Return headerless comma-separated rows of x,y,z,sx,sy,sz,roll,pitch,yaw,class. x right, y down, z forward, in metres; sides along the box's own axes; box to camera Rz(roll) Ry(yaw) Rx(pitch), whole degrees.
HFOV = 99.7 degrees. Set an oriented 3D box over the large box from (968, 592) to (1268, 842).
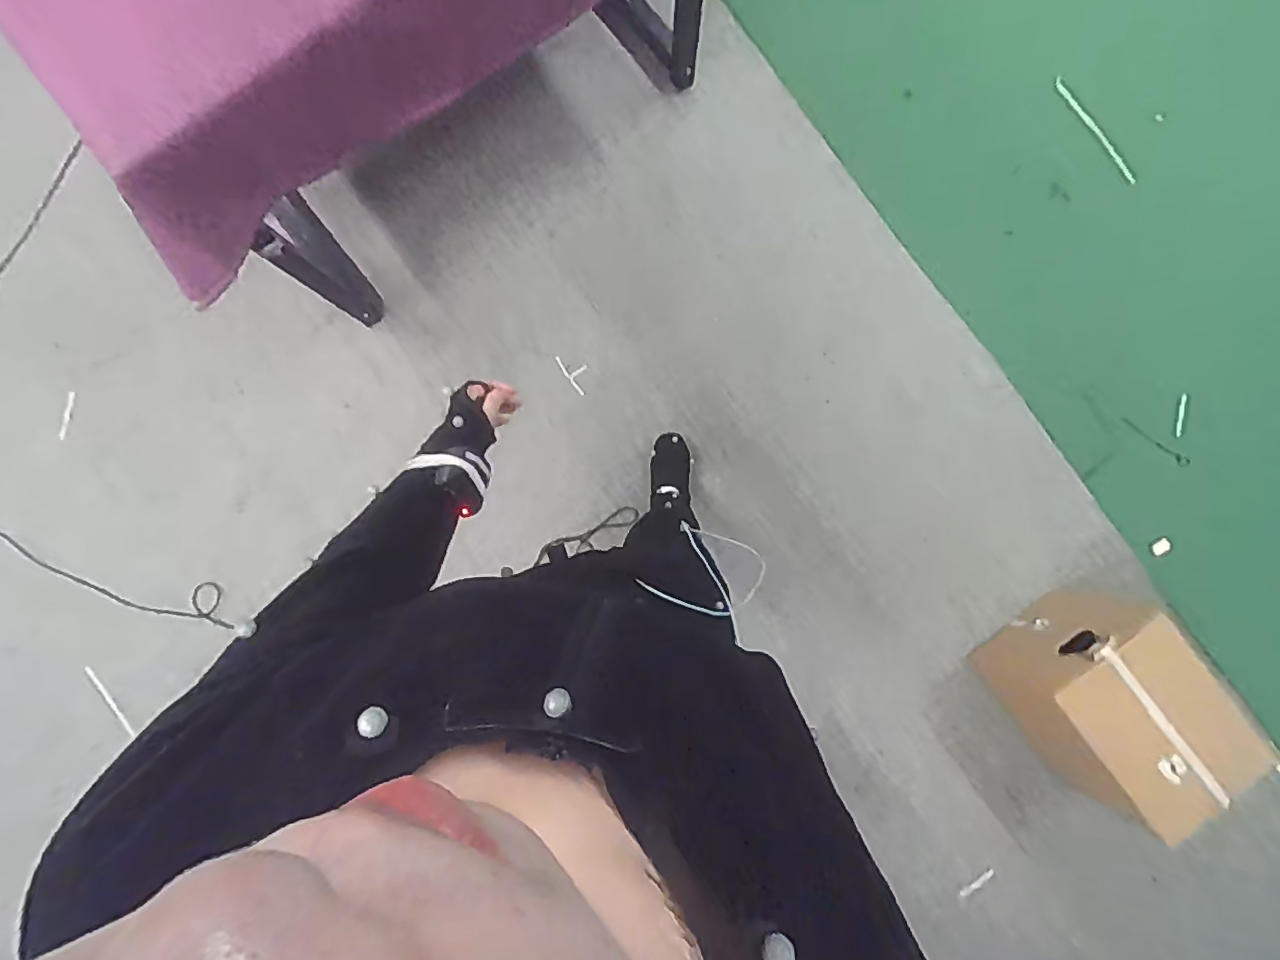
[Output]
1.122,0.540,1.319,0.320,0.320,0.408,-36,89,-2,large box
